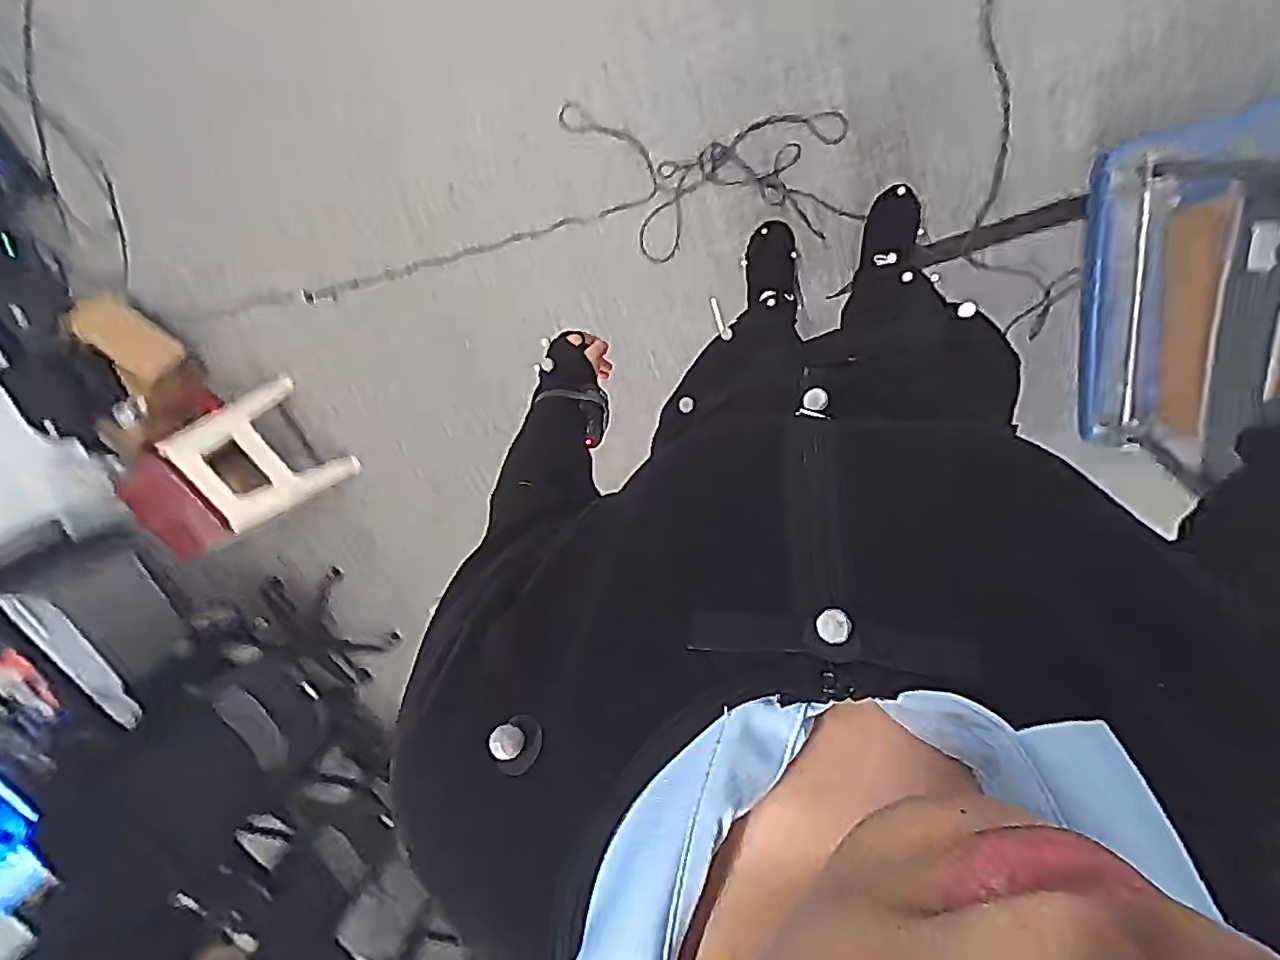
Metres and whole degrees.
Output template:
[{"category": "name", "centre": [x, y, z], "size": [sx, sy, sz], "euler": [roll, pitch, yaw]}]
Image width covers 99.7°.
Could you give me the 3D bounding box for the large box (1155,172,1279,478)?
[{"category": "large box", "centre": [1.083, -0.272, 0.846], "size": [0.320, 0.320, 0.408], "euler": [-12, 115, 22]}]
